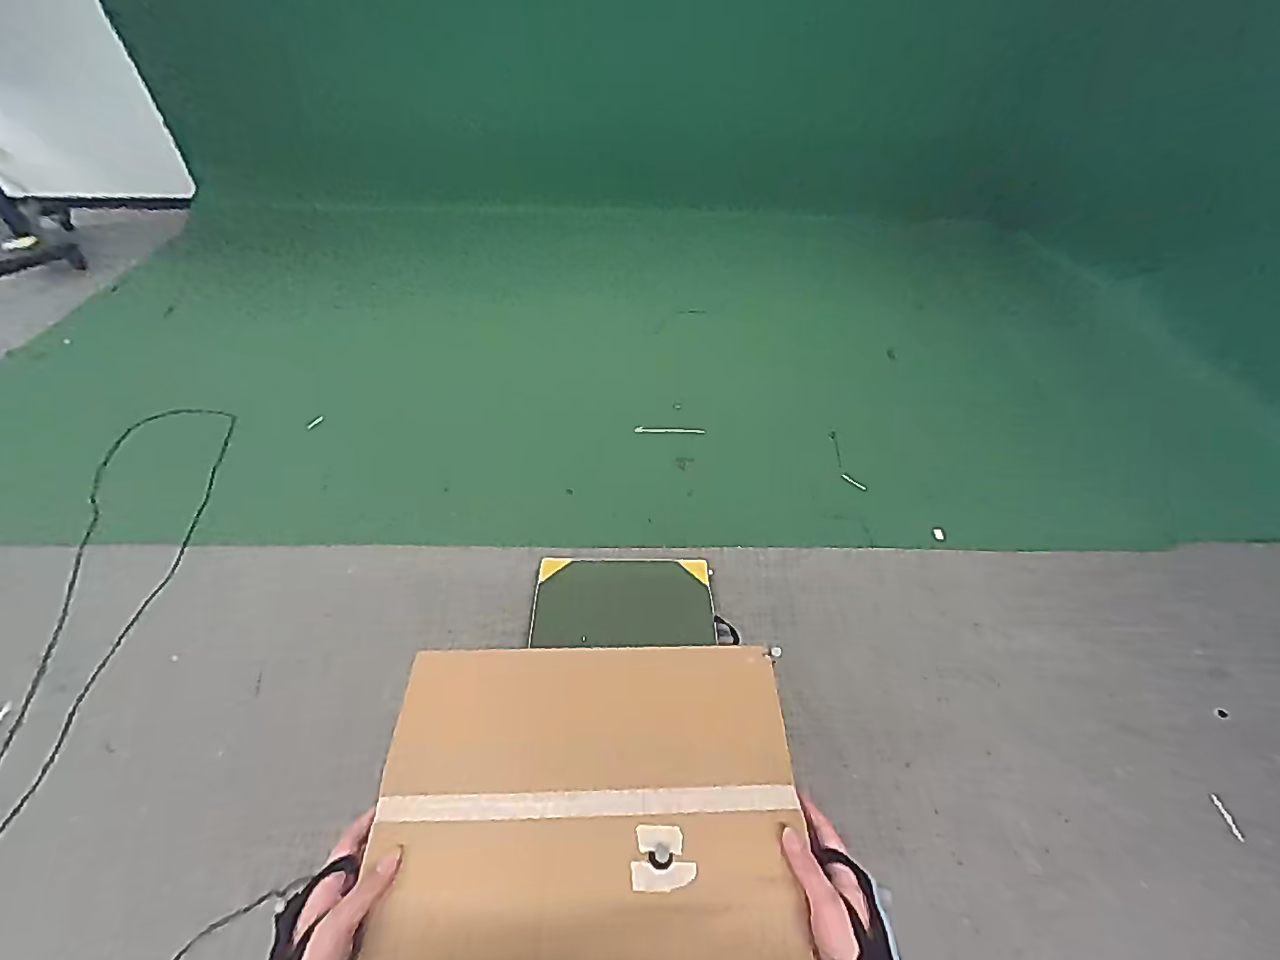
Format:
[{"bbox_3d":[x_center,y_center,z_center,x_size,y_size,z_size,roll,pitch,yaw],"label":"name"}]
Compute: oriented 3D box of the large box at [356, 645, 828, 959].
[{"bbox_3d":[-0.049,0.412,0.645,0.408,0.320,0.320,0,49,-2],"label":"large box"}]
